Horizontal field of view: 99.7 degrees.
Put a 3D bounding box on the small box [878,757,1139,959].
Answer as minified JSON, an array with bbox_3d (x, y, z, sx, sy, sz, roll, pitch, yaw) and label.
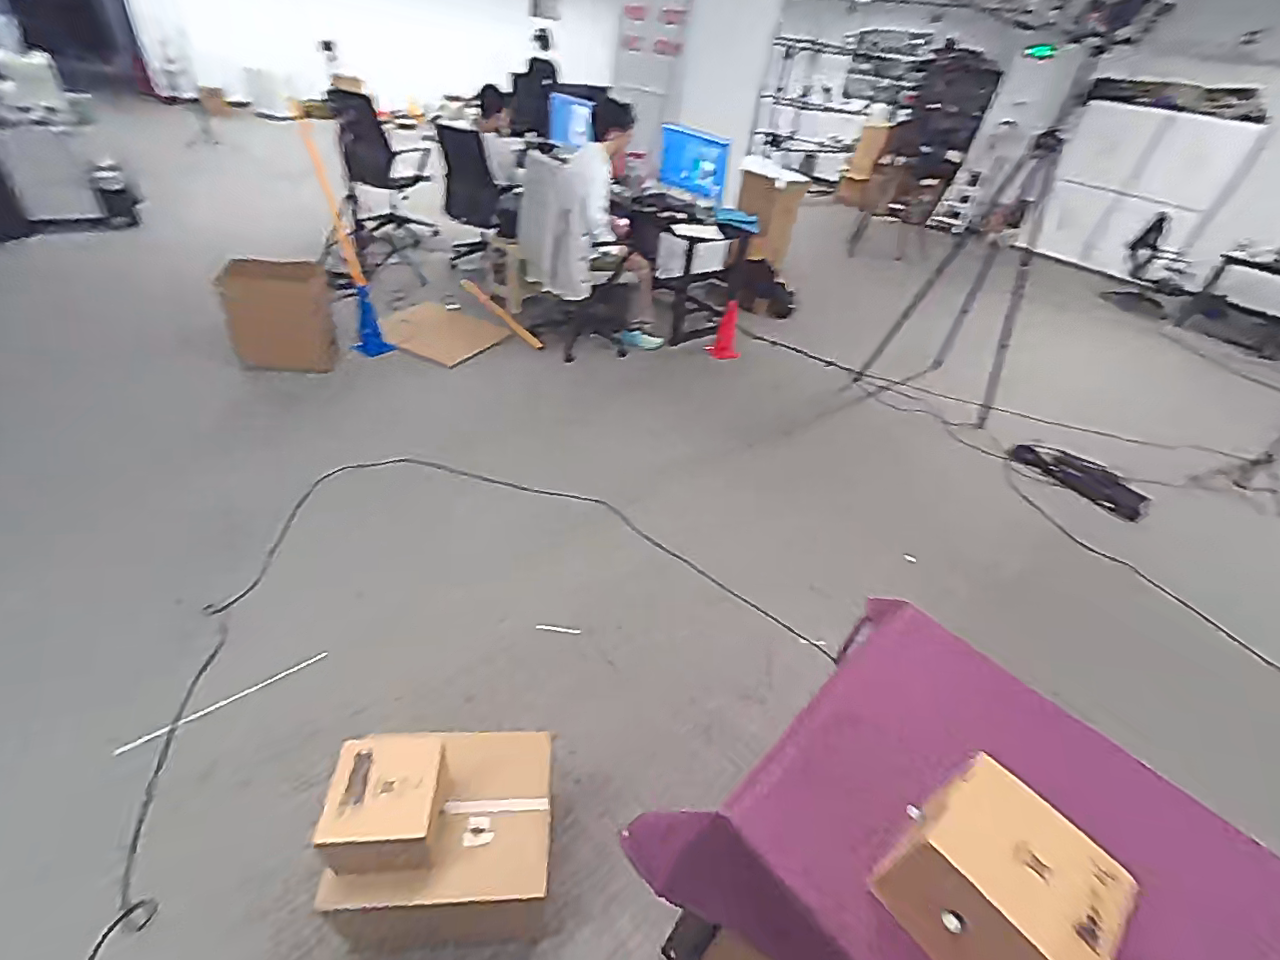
[{"bbox_3d":[0.422,0.484,0.644,0.168,0.176,0.179,-23,47,-33],"label":"small box"}]

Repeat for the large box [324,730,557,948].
[{"bbox_3d":[-0.395,0.773,1.179,0.408,0.320,0.320,4,39,-9],"label":"large box"}]
